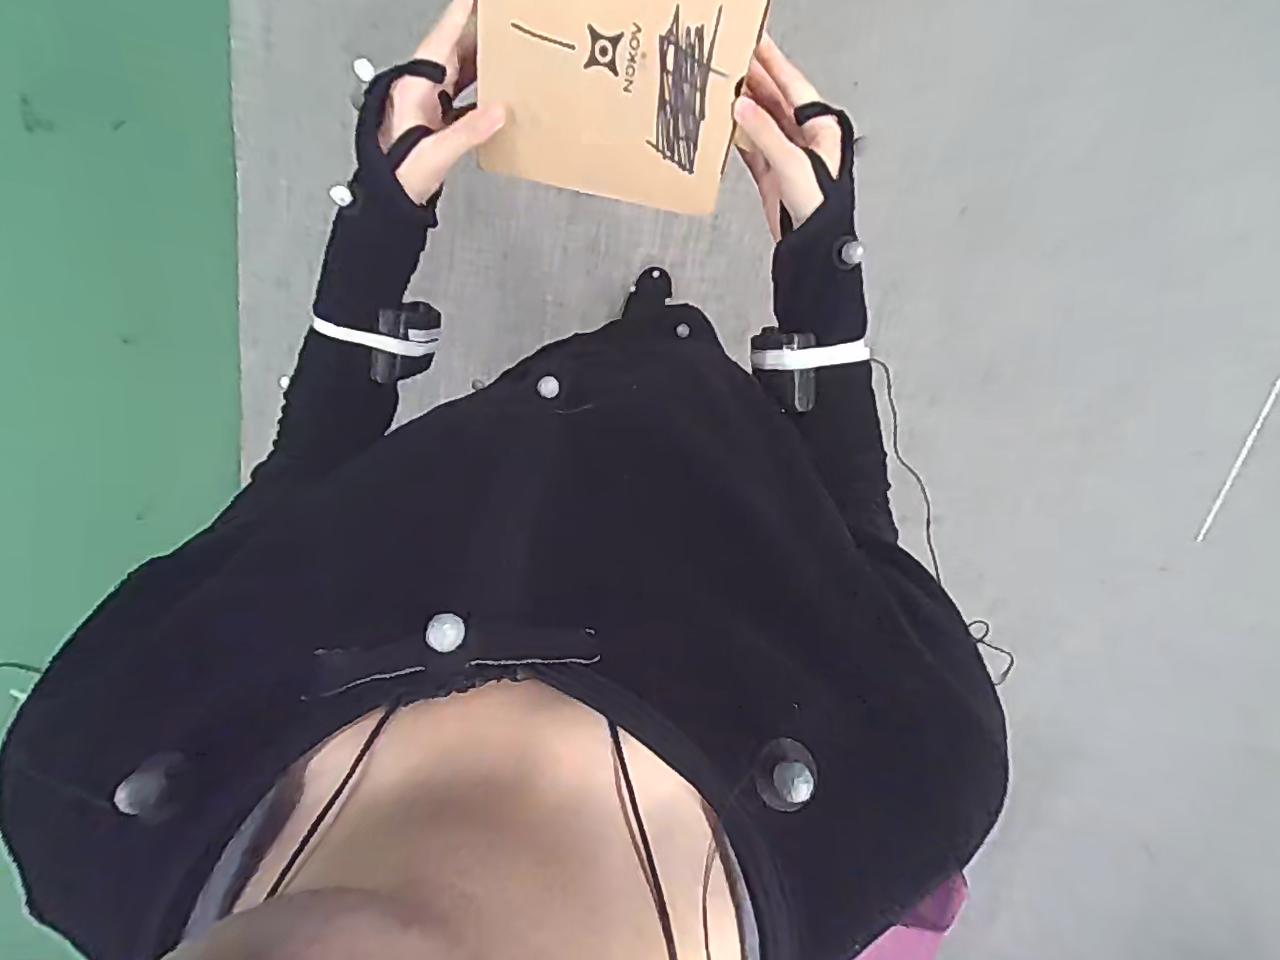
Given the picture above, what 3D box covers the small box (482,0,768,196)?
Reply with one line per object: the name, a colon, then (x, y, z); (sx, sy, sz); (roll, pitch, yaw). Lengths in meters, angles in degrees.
small box: (-0.012, -0.340, 0.404); (0.179, 0.176, 0.168); (9, 131, -7)
